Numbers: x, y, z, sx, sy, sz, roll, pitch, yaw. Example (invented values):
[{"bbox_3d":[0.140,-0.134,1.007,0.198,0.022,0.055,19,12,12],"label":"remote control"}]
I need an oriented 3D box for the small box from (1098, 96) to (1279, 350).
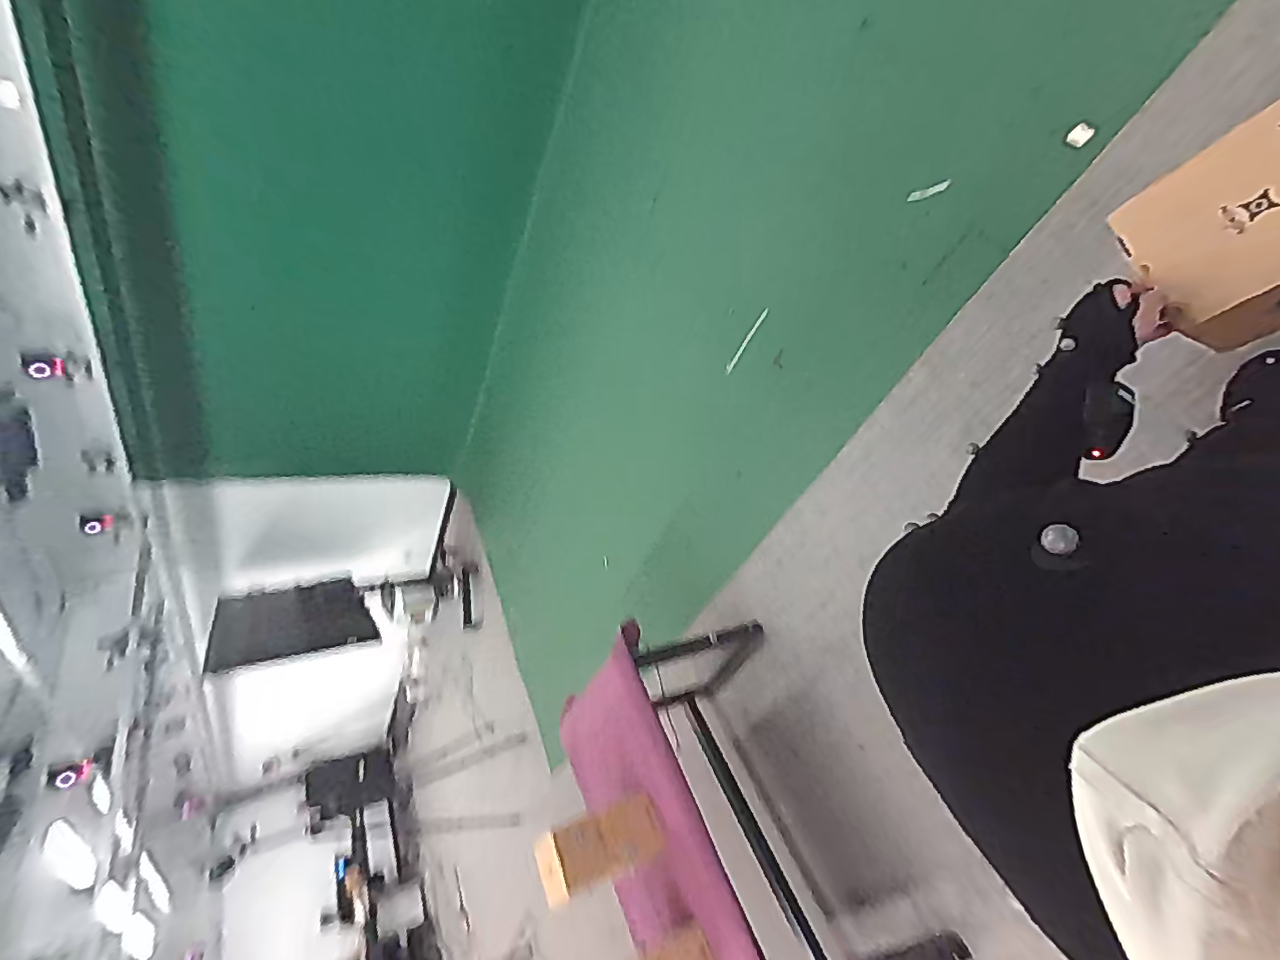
[{"bbox_3d":[0.653,-0.258,0.572,0.179,0.176,0.168,-39,57,51],"label":"small box"}]

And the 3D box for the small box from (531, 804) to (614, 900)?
[{"bbox_3d":[-0.195,1.084,1.584,0.168,0.176,0.179,61,138,34],"label":"small box"}]

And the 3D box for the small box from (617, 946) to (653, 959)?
[{"bbox_3d":[-0.048,1.347,1.387,0.168,0.176,0.179,60,136,35],"label":"small box"}]

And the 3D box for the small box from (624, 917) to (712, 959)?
[{"bbox_3d":[0.087,1.341,1.478,0.168,0.176,0.179,61,137,33],"label":"small box"}]
